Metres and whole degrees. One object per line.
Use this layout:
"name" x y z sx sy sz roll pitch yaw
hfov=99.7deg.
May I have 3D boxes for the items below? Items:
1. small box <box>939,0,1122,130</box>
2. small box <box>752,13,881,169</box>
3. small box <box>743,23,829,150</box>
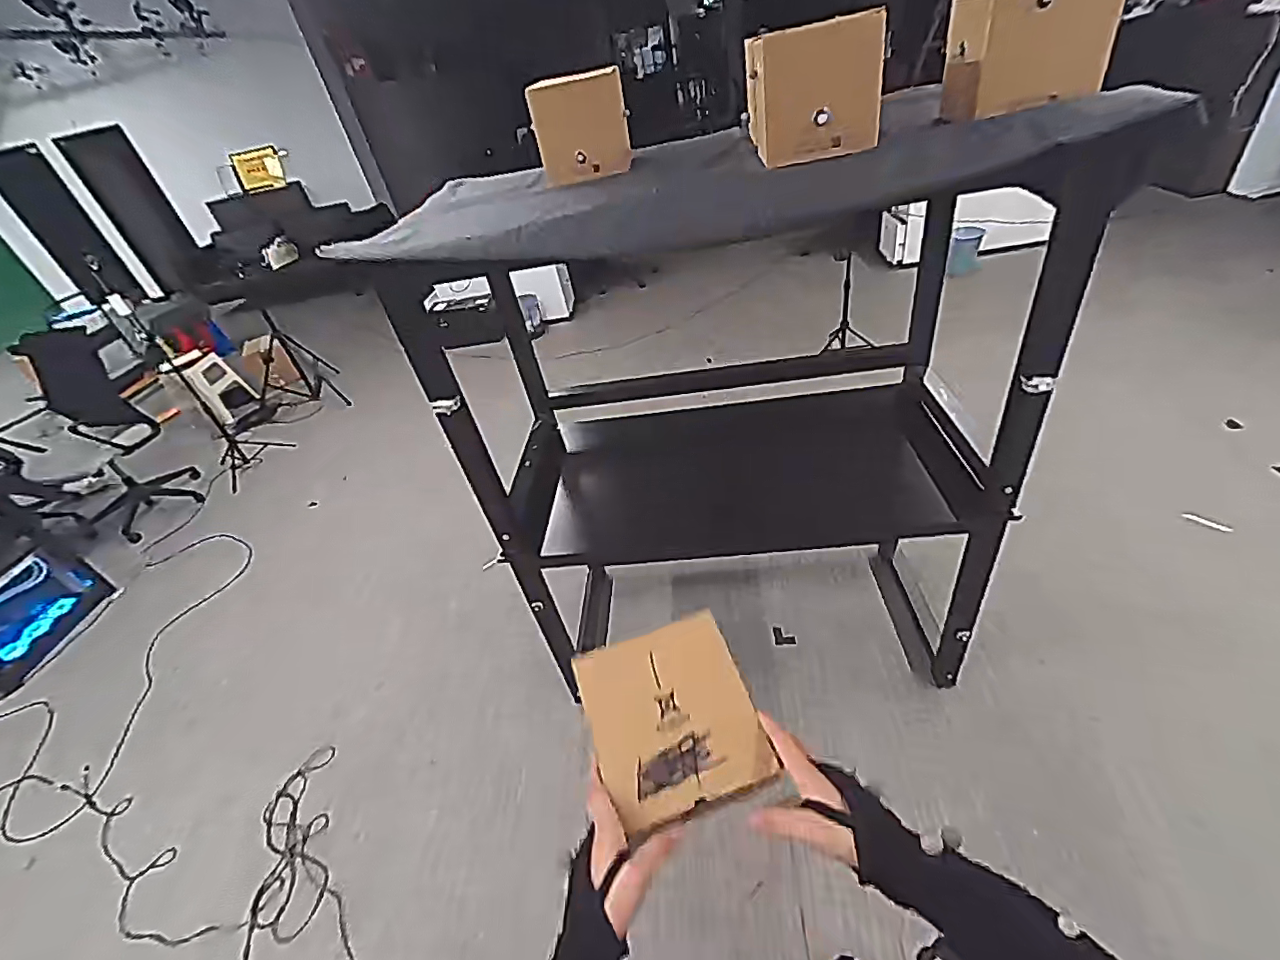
"small box" 0.572 -0.644 0.817 0.168 0.176 0.179 -5 38 12
"small box" 0.268 -0.605 0.854 0.168 0.176 0.179 -6 37 11
"small box" 0.295 -0.762 1.048 0.179 0.176 0.168 -5 38 10
